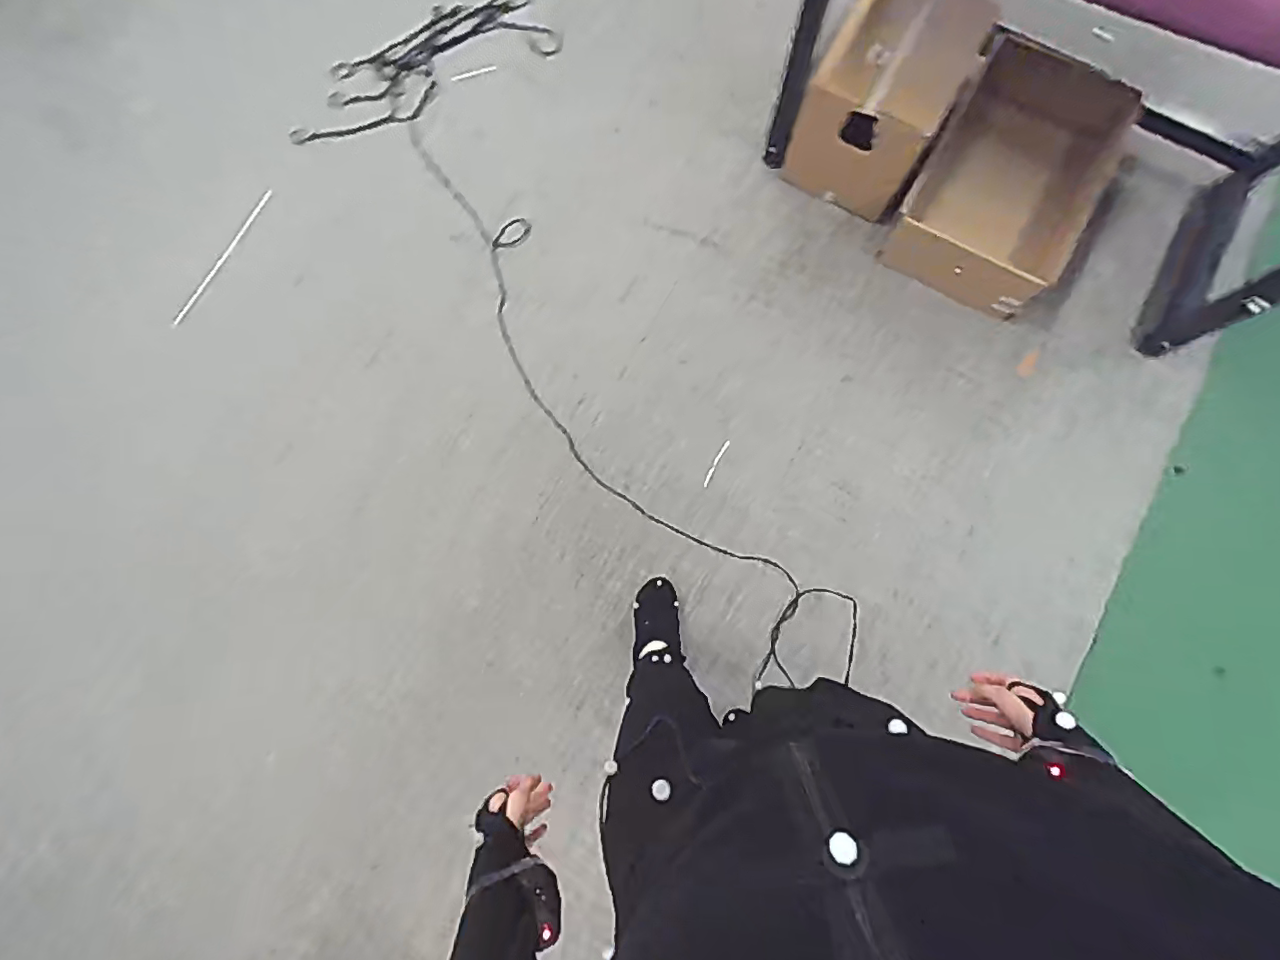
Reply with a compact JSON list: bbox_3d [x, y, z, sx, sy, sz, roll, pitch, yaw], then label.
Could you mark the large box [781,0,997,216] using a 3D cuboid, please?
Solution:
[{"bbox_3d":[0.619,-0.999,1.406,0.320,0.320,0.408,29,83,7],"label":"large box"}]
